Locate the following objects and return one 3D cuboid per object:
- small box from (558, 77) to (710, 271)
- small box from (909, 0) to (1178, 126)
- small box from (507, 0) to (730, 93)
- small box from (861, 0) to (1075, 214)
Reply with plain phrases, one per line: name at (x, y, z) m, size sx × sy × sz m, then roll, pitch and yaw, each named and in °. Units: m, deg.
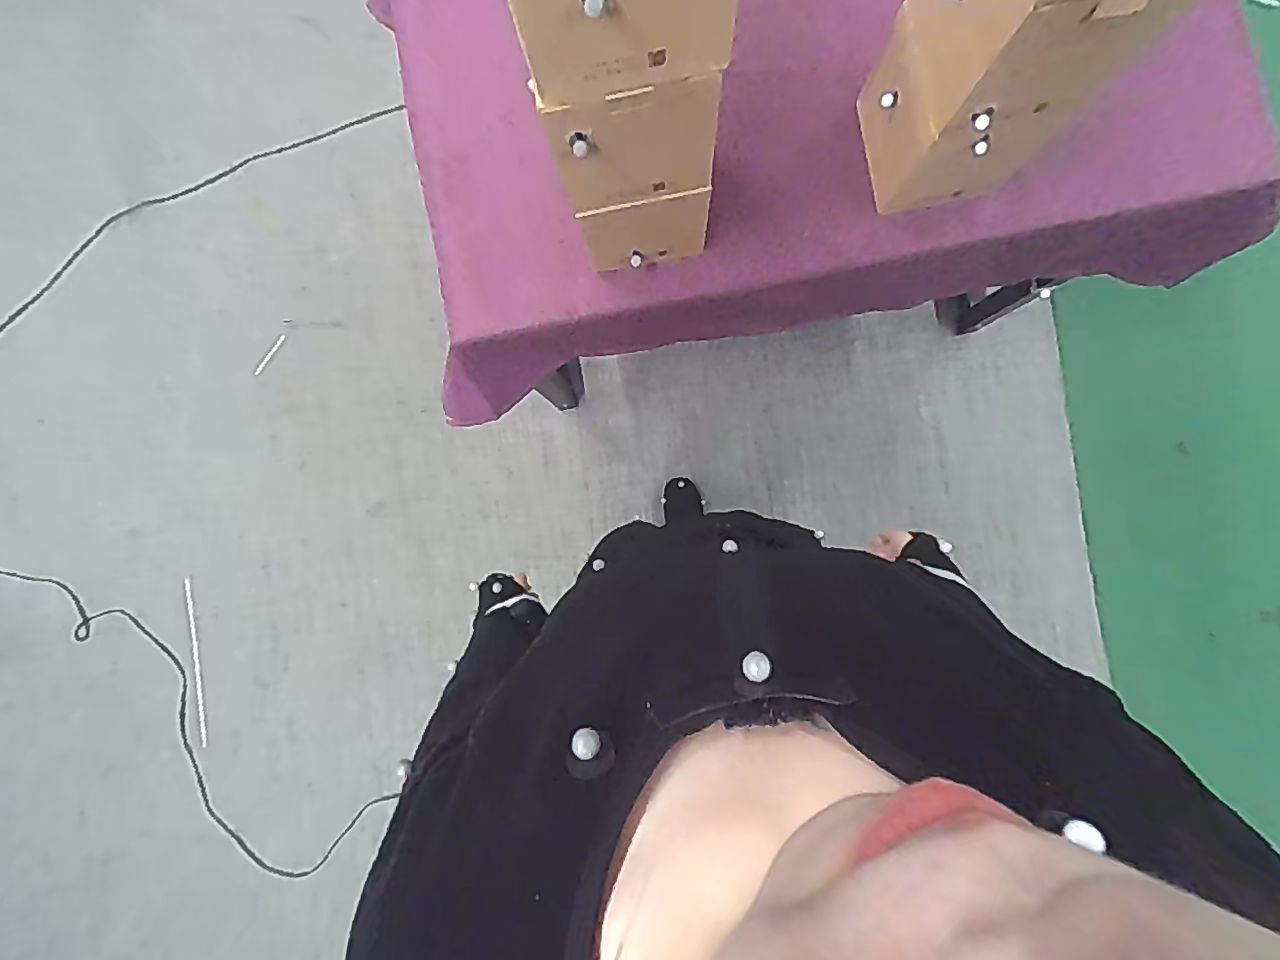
small box at (-0.006, -0.408, 0.725) m, size 0.168 × 0.176 × 0.179 m, roll -9°, pitch 88°, yaw 3°
small box at (0.399, -0.493, 0.541) m, size 0.168 × 0.176 × 0.179 m, roll -11°, pitch 87°, yaw 2°
small box at (-0.023, -0.426, 0.398) m, size 0.168 × 0.176 × 0.179 m, roll -9°, pitch 86°, yaw 3°
small box at (0.406, -0.486, 0.705) m, size 0.168 × 0.176 × 0.179 m, roll -10°, pitch 87°, yaw 4°
